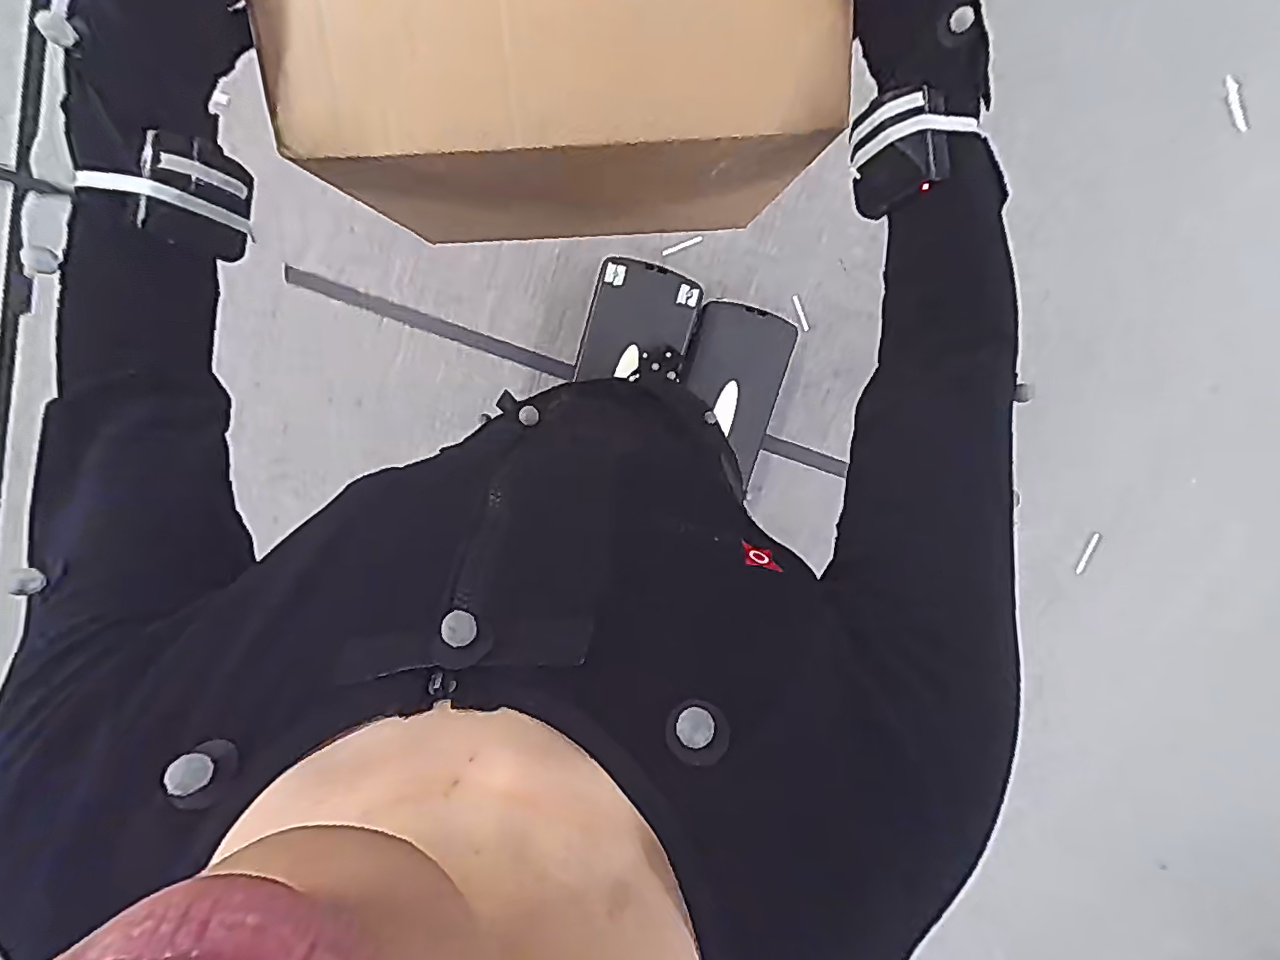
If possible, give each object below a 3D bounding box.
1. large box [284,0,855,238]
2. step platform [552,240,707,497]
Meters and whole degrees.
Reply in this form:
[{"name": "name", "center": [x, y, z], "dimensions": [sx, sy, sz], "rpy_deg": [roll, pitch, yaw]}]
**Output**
[{"name": "large box", "center": [-0.058, -0.433, 0.505], "dimensions": [0.408, 0.320, 0.320], "rpy_deg": [-4, 104, -2]}, {"name": "step platform", "center": [-0.036, -0.297, 1.522], "dimensions": [0.286, 0.204, 0.684], "rpy_deg": [15, 99, -4]}]
